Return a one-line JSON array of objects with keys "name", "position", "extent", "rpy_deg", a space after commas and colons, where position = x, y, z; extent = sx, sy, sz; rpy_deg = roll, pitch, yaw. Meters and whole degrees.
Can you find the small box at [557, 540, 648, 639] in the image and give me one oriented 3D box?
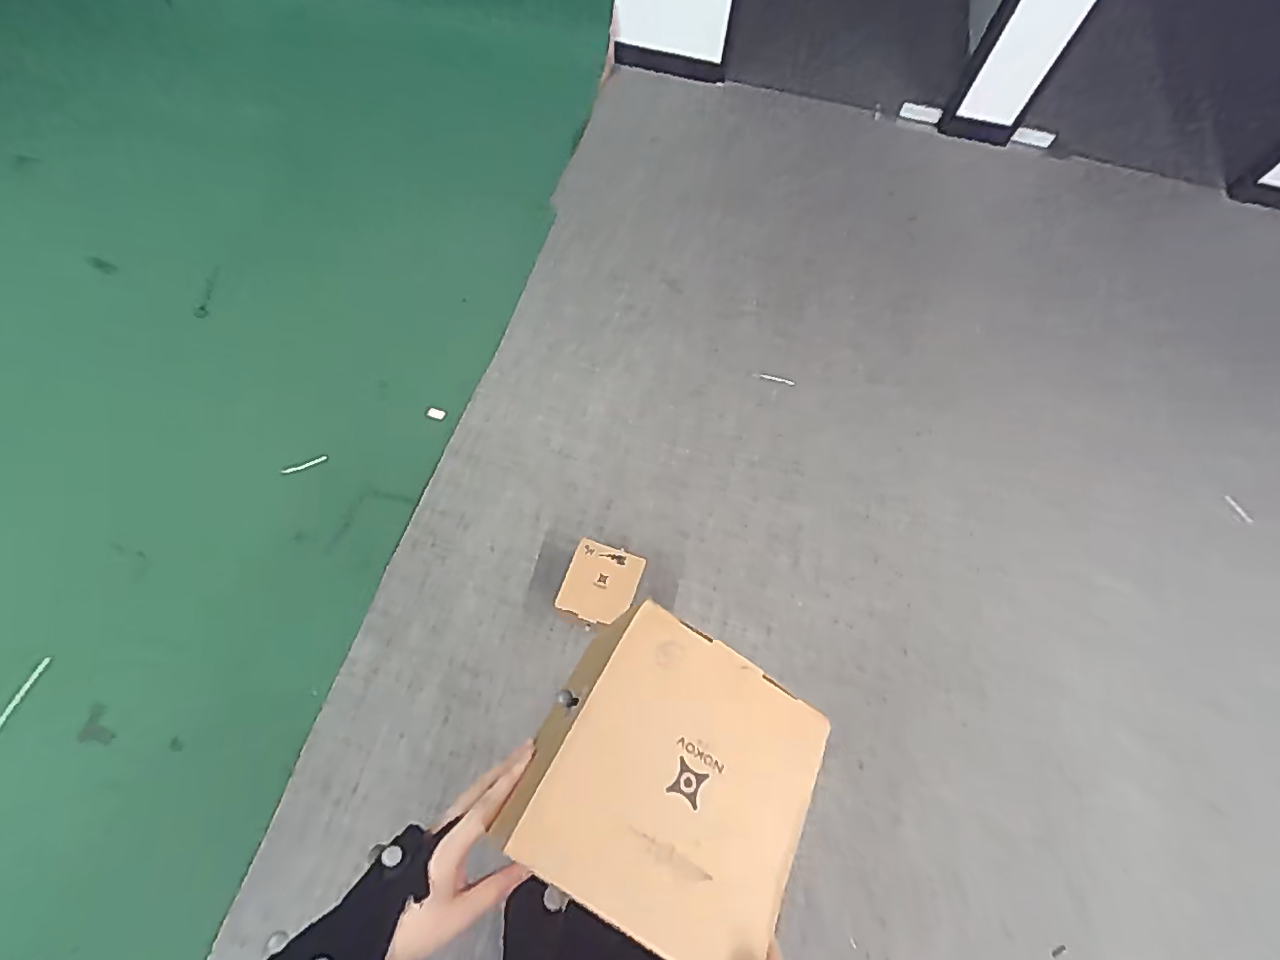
[{"name": "small box", "position": [-0.085, 0.271, 1.308], "extent": [0.168, 0.176, 0.179], "rpy_deg": [18, 67, 5]}]
